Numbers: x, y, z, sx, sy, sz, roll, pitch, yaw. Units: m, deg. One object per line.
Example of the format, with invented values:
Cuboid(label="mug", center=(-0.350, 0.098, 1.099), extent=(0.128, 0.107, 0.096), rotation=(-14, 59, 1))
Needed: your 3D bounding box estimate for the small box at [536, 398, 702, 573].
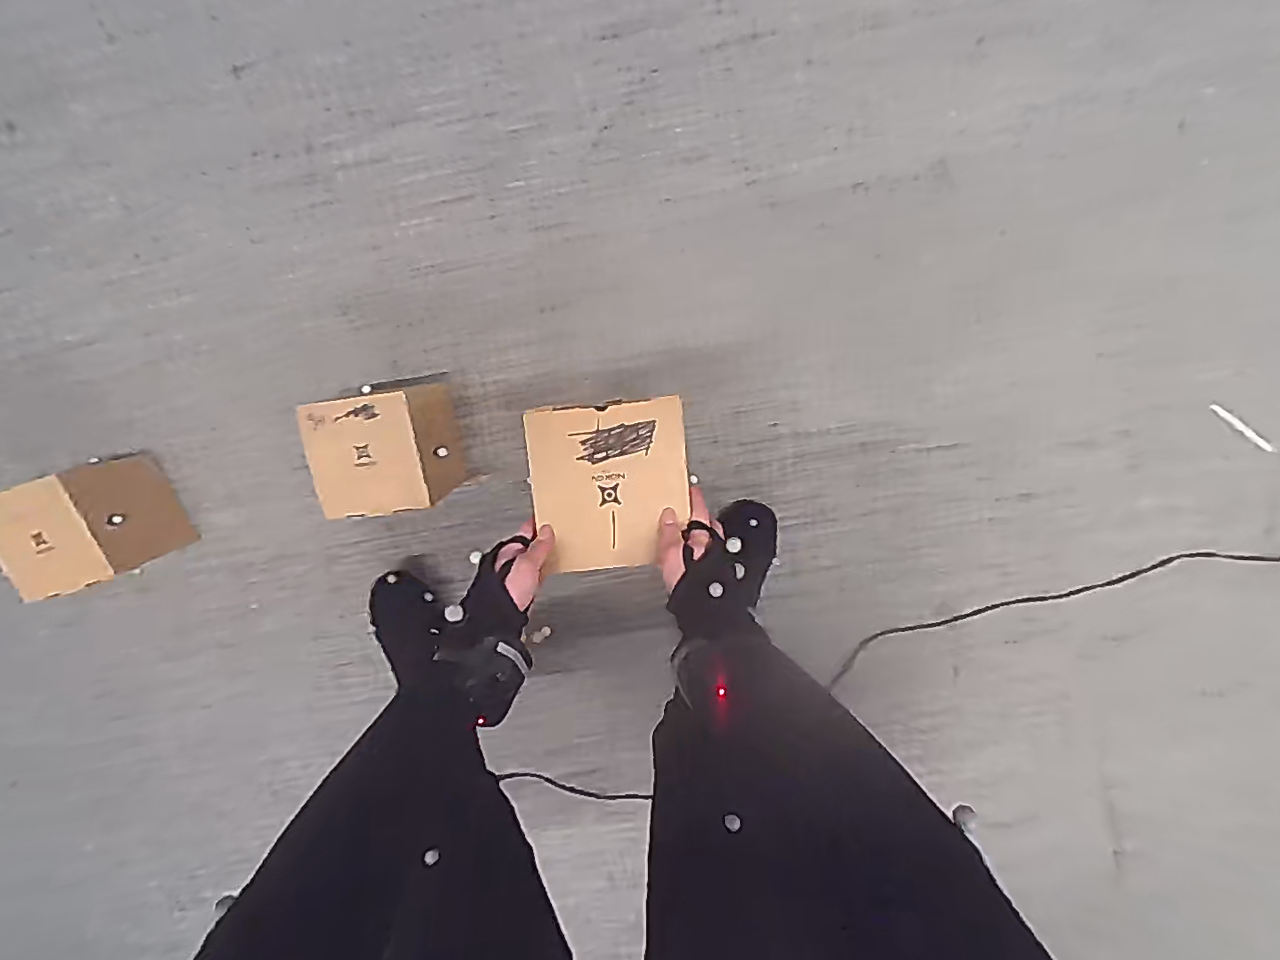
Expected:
Cuboid(label="small box", center=(-0.022, 0.002, 0.653), extent=(0.168, 0.176, 0.179), rotation=(-6, 95, 1))

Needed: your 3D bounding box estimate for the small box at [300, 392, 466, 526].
Cuboid(label="small box", center=(-0.397, -0.040, 0.869), extent=(0.168, 0.176, 0.179), rotation=(-6, 104, 4))
